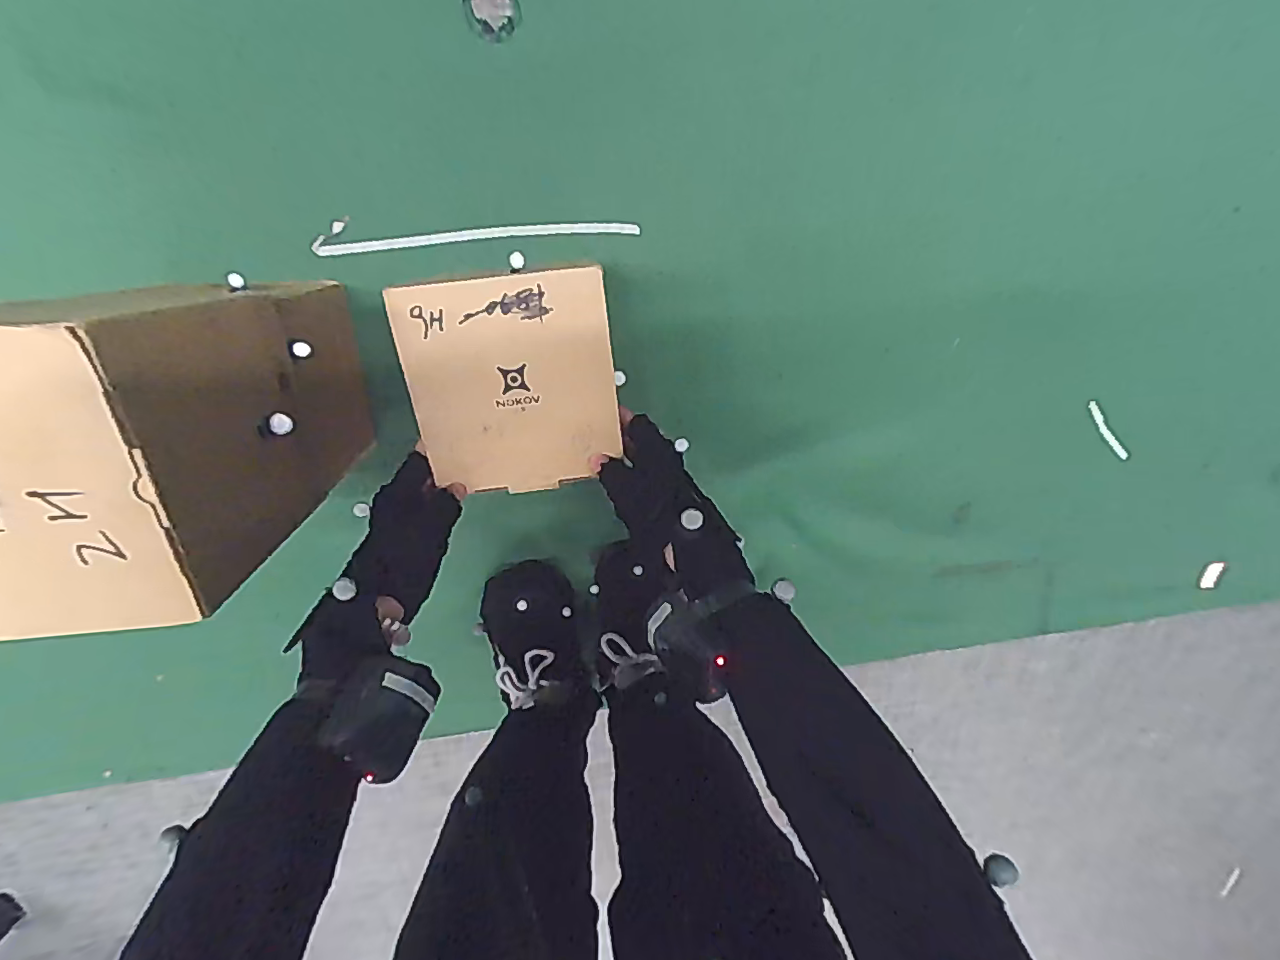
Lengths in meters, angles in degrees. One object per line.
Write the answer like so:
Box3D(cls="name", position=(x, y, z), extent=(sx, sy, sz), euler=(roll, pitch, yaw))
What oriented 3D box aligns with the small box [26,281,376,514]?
Box3D(cls="small box", position=(-0.365, -0.085, 0.498), extent=(0.168, 0.176, 0.179), euler=(-3, 113, -6))
